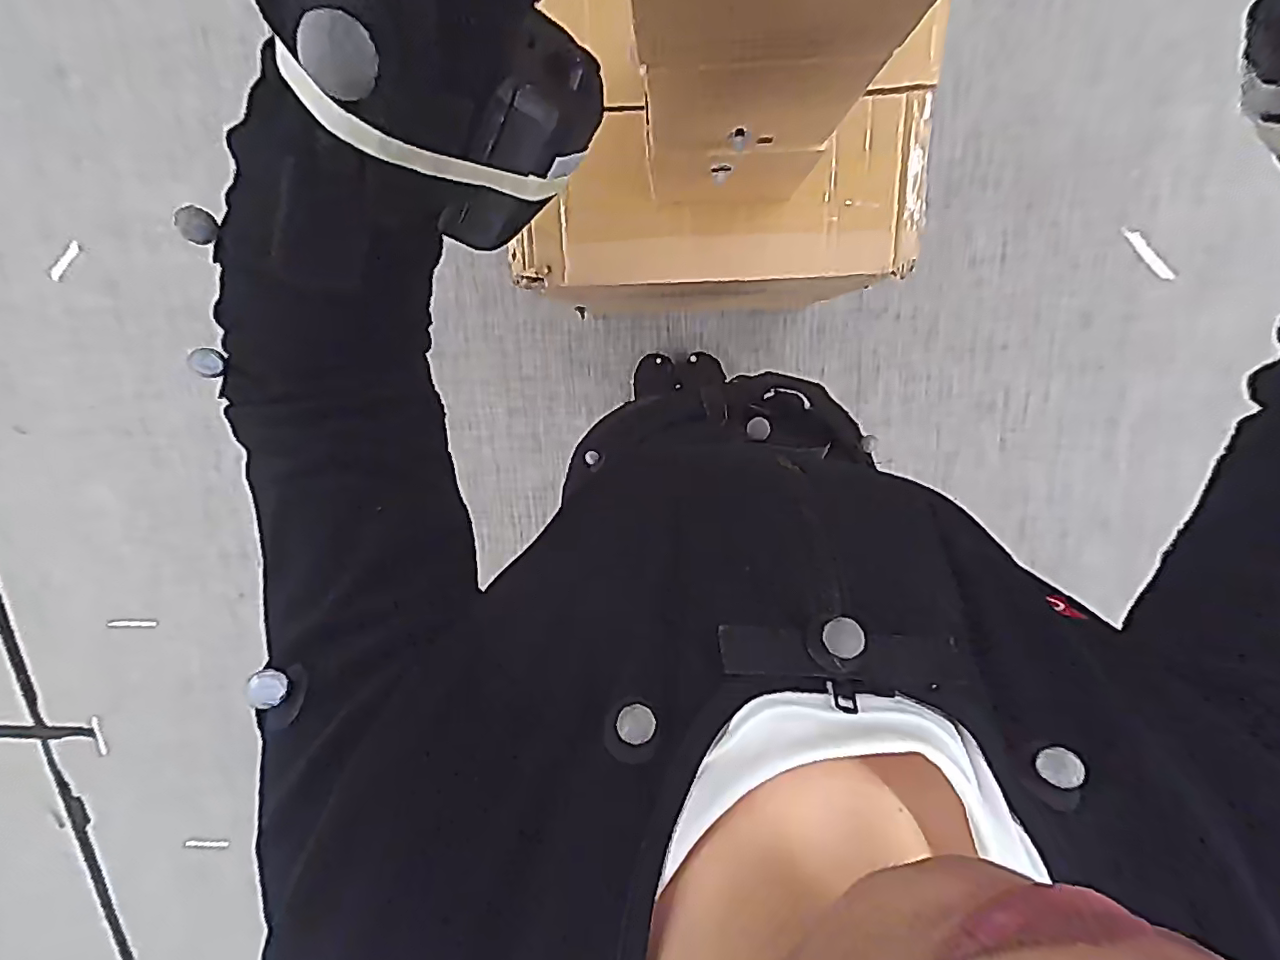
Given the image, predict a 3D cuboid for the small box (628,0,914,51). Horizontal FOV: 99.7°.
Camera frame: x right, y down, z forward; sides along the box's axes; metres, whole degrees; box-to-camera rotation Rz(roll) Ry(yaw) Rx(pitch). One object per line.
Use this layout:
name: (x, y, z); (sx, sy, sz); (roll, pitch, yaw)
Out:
small box: (0.077, -0.341, 0.256); (0.179, 0.176, 0.168); (-1, 104, 4)

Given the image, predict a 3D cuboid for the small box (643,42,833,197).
small box: (0.096, -0.414, 0.577); (0.179, 0.176, 0.168); (-1, 104, 3)
